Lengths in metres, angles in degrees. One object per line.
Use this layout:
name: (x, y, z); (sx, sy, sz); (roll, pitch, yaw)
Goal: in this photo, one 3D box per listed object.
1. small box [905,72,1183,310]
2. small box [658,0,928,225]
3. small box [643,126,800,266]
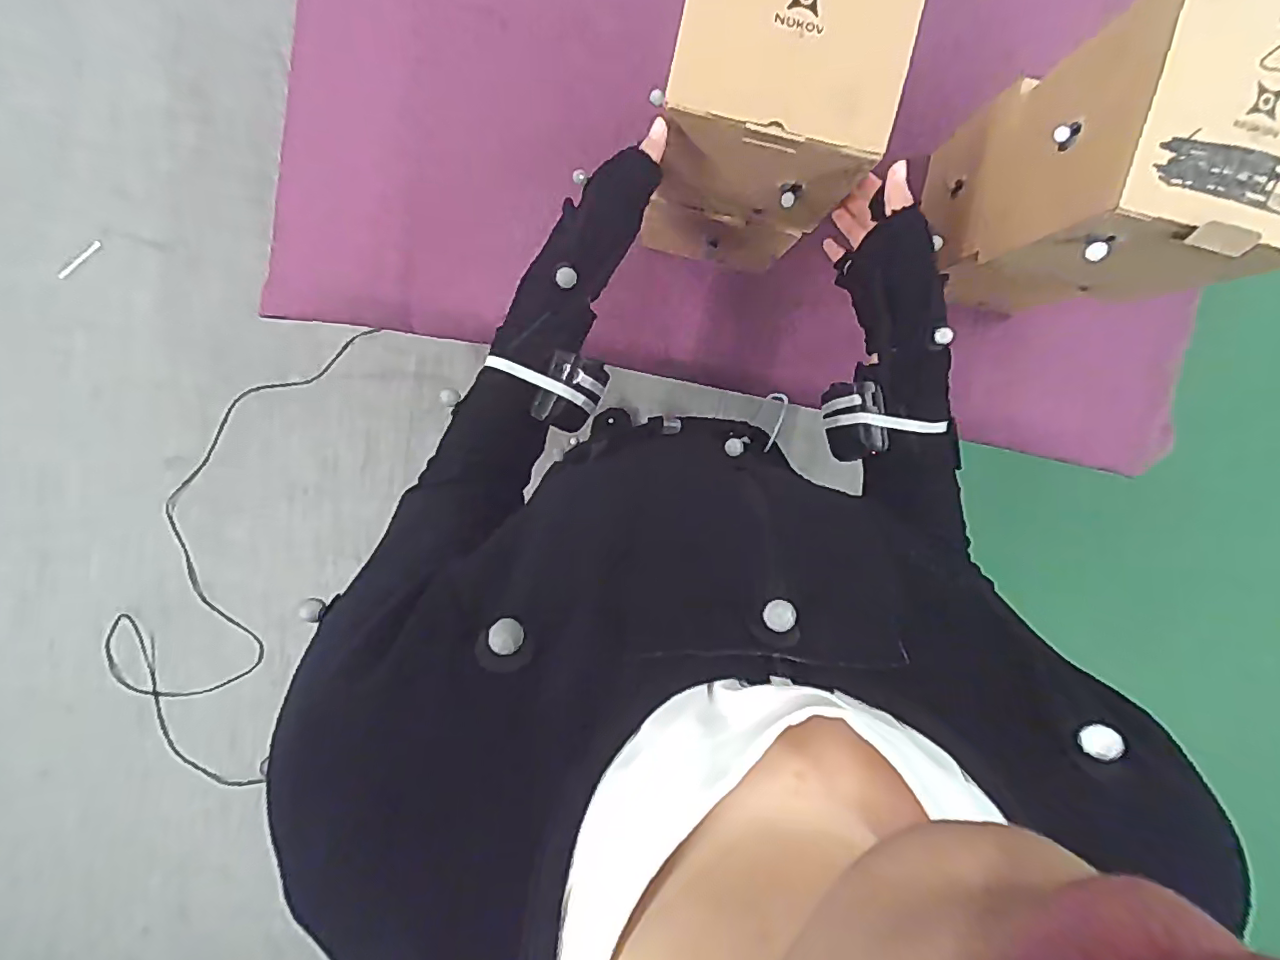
small box: (0.439, -0.309, 0.623); (0.168, 0.176, 0.179); (14, 98, -5)
small box: (0.112, -0.339, 0.449); (0.168, 0.176, 0.179); (13, 97, -3)
small box: (0.102, -0.361, 0.611); (0.168, 0.176, 0.179); (13, 98, -3)
